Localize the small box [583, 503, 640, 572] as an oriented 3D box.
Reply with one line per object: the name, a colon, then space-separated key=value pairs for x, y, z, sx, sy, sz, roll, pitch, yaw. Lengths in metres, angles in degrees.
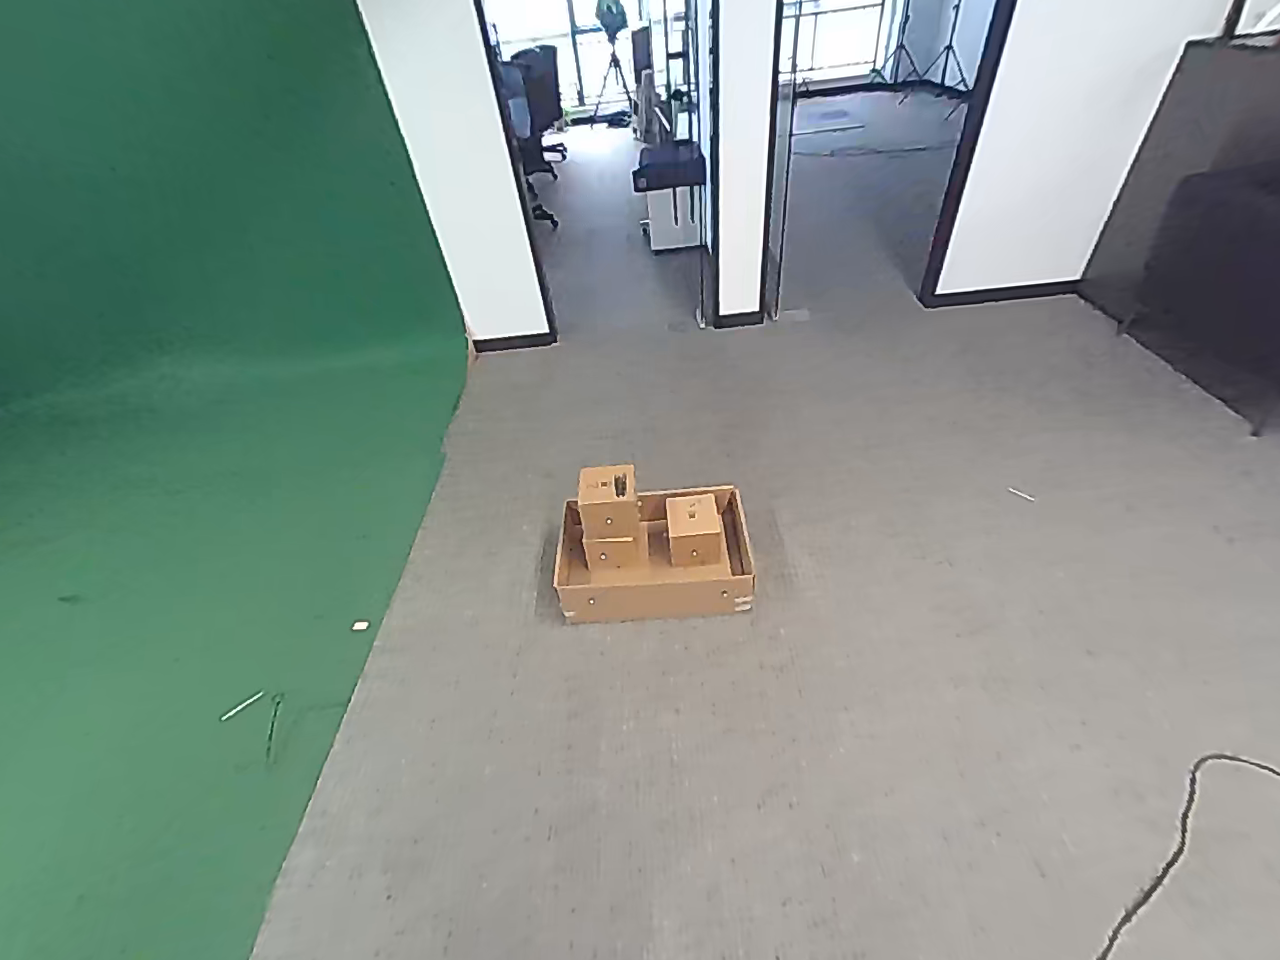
small box: x=-0.090 y=0.200 z=1.842 sx=0.168 sy=0.176 sz=0.179 roll=-1 pitch=43 yaw=5

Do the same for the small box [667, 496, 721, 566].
small box: x=0.183 y=0.178 z=1.824 sx=0.168 sy=0.176 sz=0.179 roll=-5 pitch=43 yaw=3
